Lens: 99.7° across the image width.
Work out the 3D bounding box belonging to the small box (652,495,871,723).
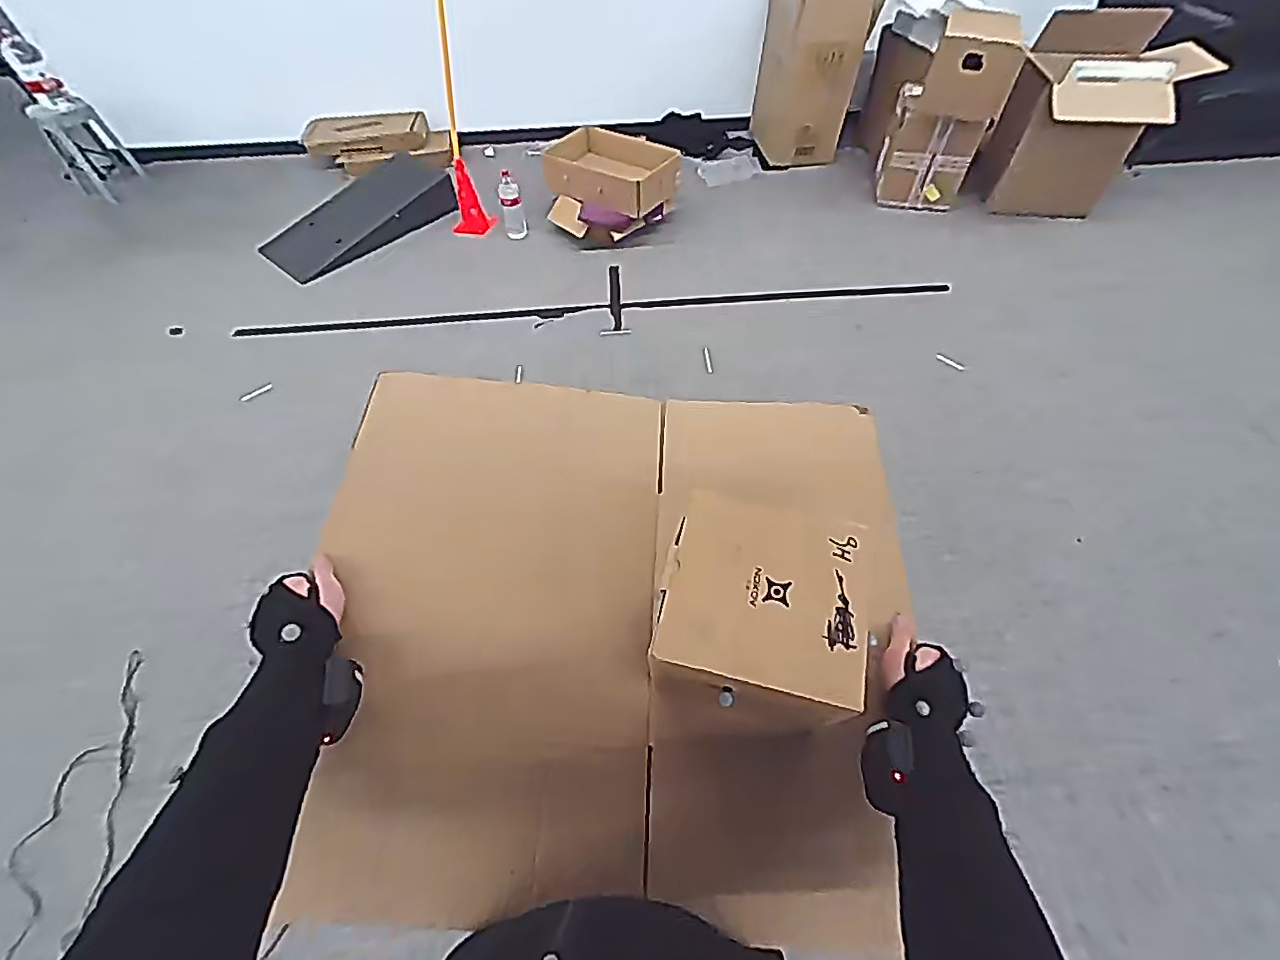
[{"bbox_3d":[0.119,0.138,0.555,0.179,0.176,0.168,11,62,10],"label":"small box"}]
